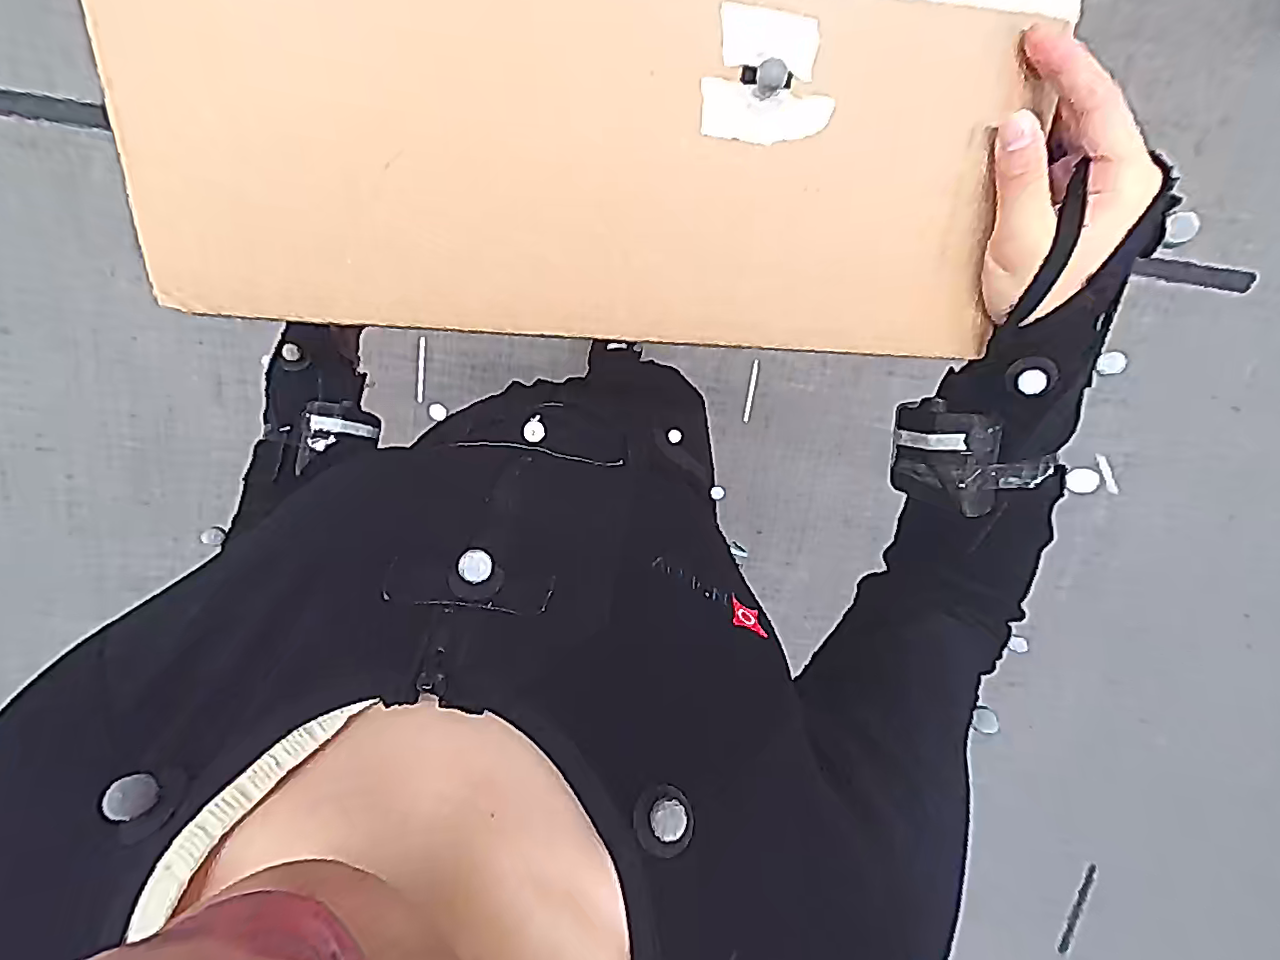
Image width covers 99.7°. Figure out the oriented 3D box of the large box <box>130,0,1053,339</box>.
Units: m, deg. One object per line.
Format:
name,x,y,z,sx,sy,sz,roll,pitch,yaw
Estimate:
large box,-0.022,-0.272,0.369,0.408,0.320,0.320,1,110,-7
